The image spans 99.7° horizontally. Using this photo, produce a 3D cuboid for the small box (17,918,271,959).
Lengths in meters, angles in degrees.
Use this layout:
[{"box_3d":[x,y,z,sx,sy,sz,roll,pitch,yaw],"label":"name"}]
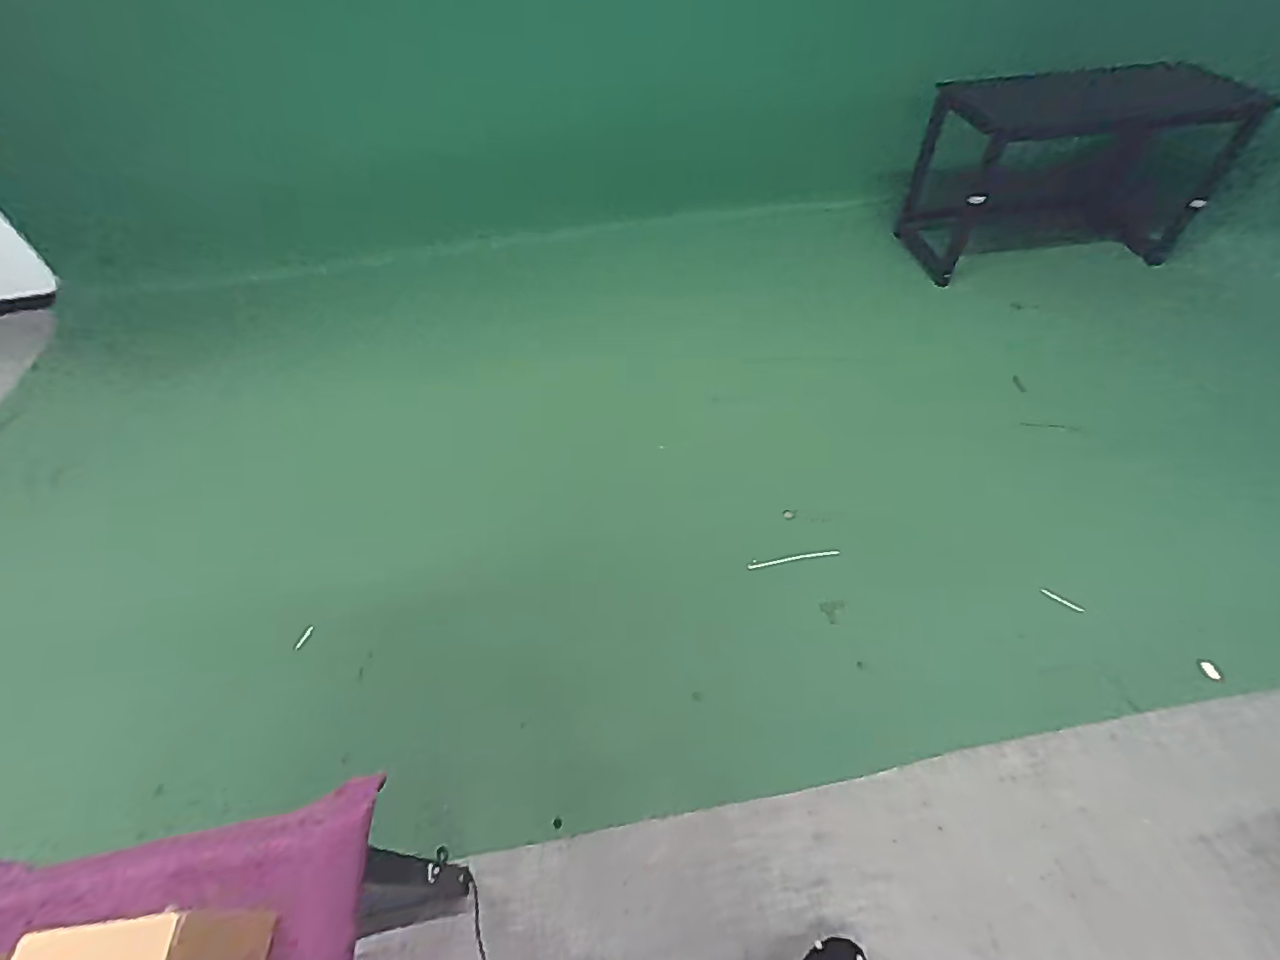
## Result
[{"box_3d":[-0.550,0.590,0.585,0.179,0.176,0.168,-8,52,0],"label":"small box"}]
